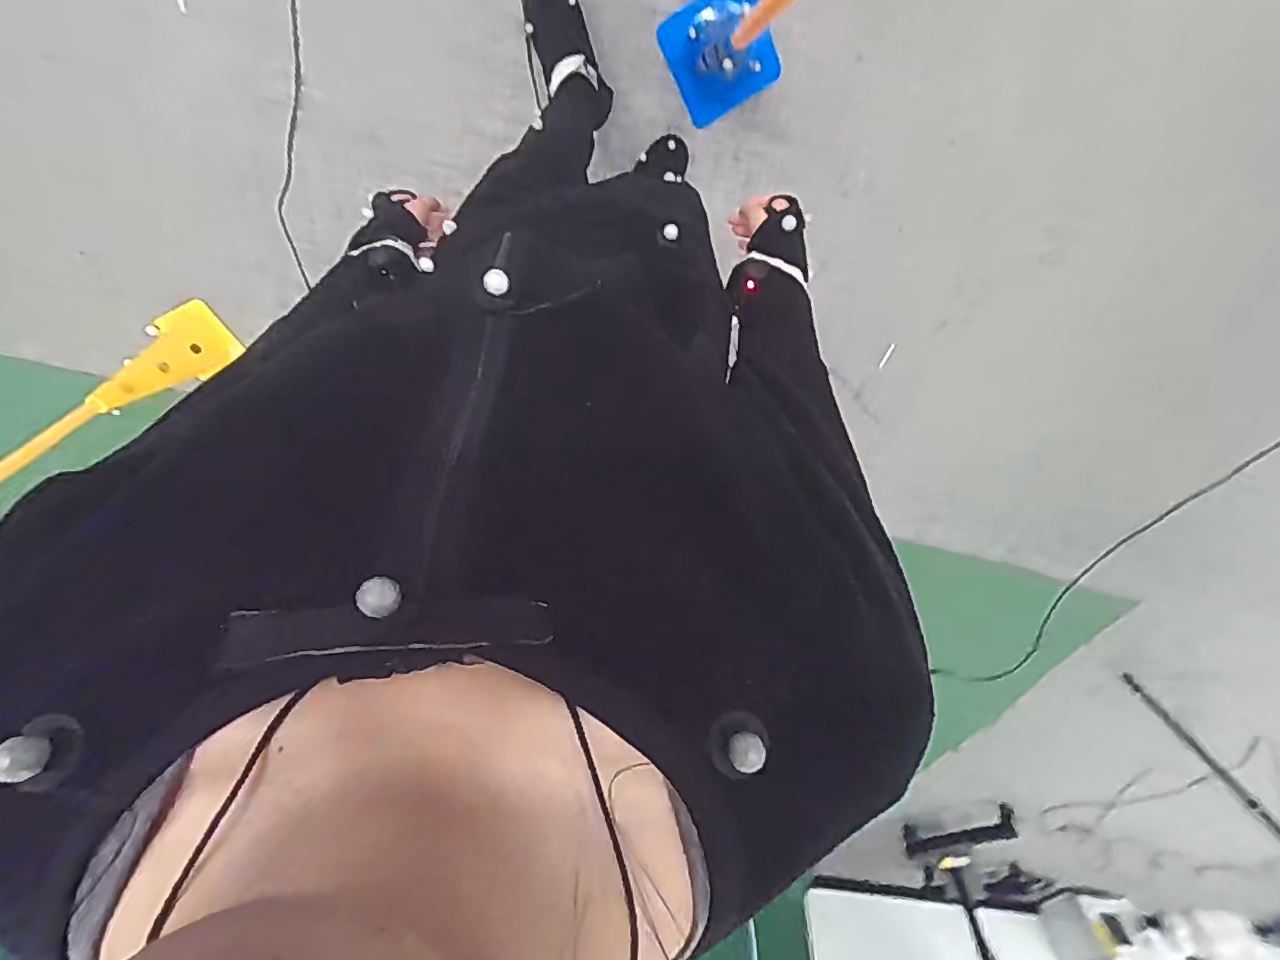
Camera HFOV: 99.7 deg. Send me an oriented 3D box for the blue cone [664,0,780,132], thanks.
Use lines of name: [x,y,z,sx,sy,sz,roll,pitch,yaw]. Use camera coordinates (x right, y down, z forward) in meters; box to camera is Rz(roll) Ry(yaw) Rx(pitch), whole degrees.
blue cone: [0.155,-0.731,0.929,0.193,0.380,0.192,-25,121,19]
